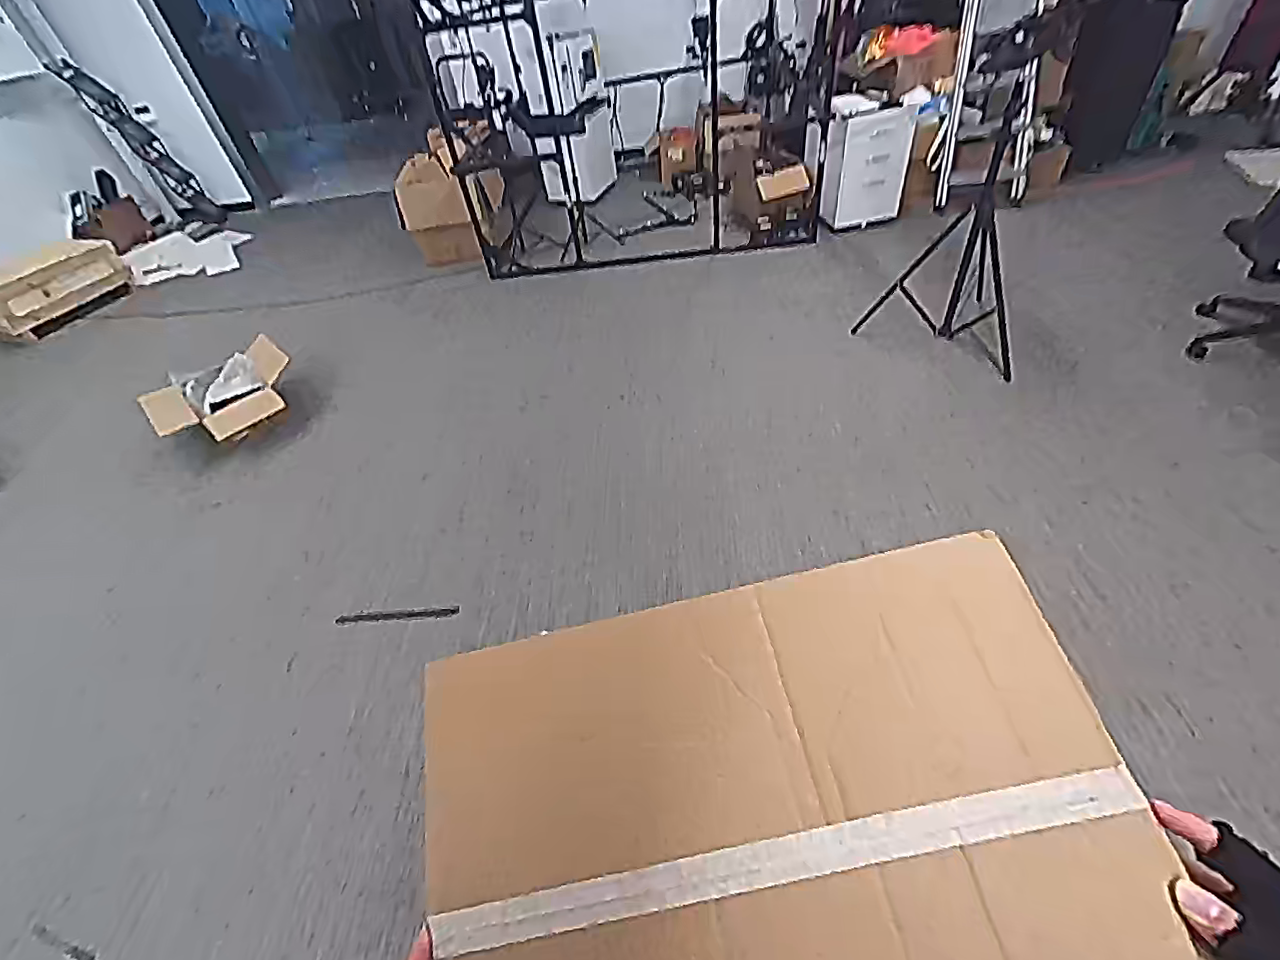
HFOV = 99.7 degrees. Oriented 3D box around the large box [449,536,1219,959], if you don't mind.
[{"bbox_3d":[0.104,0.286,0.445,0.408,0.320,0.320,-14,63,4],"label":"large box"}]
